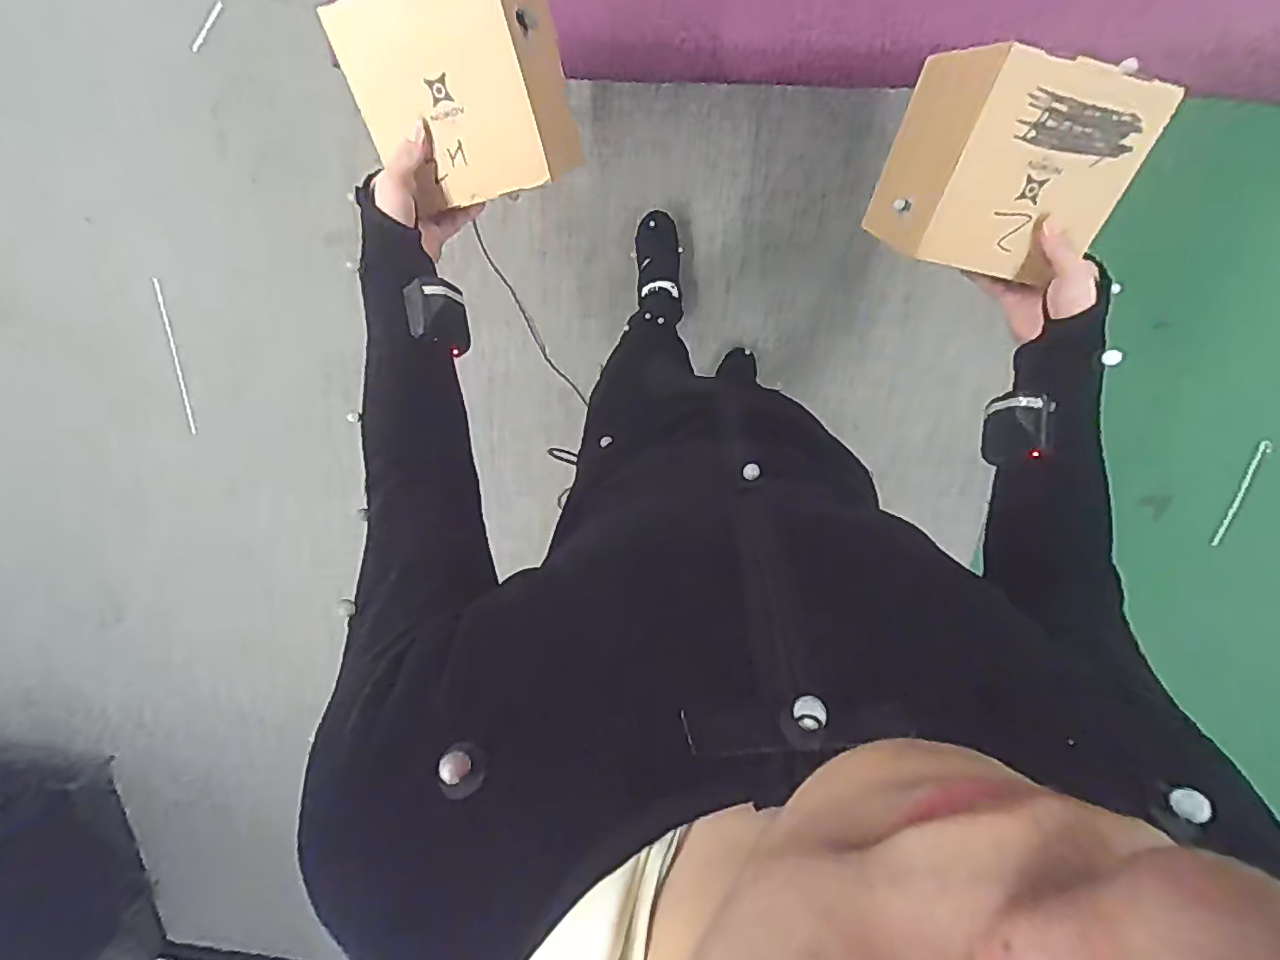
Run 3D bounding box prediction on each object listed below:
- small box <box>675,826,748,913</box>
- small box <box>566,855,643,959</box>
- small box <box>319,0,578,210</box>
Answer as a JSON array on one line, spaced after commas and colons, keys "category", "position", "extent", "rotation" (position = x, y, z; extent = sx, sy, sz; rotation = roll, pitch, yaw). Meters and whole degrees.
[{"category": "small box", "position": [0.212, 1.176, 1.612], "extent": [0.179, 0.176, 0.168], "rotation": [15, 110, 2]}, {"category": "small box", "position": [-0.090, 1.169, 1.470], "extent": [0.168, 0.176, 0.179], "rotation": [13, 111, 3]}, {"category": "small box", "position": [-0.177, -0.406, 0.566], "extent": [0.168, 0.176, 0.179], "rotation": [-6, 125, 13]}]
